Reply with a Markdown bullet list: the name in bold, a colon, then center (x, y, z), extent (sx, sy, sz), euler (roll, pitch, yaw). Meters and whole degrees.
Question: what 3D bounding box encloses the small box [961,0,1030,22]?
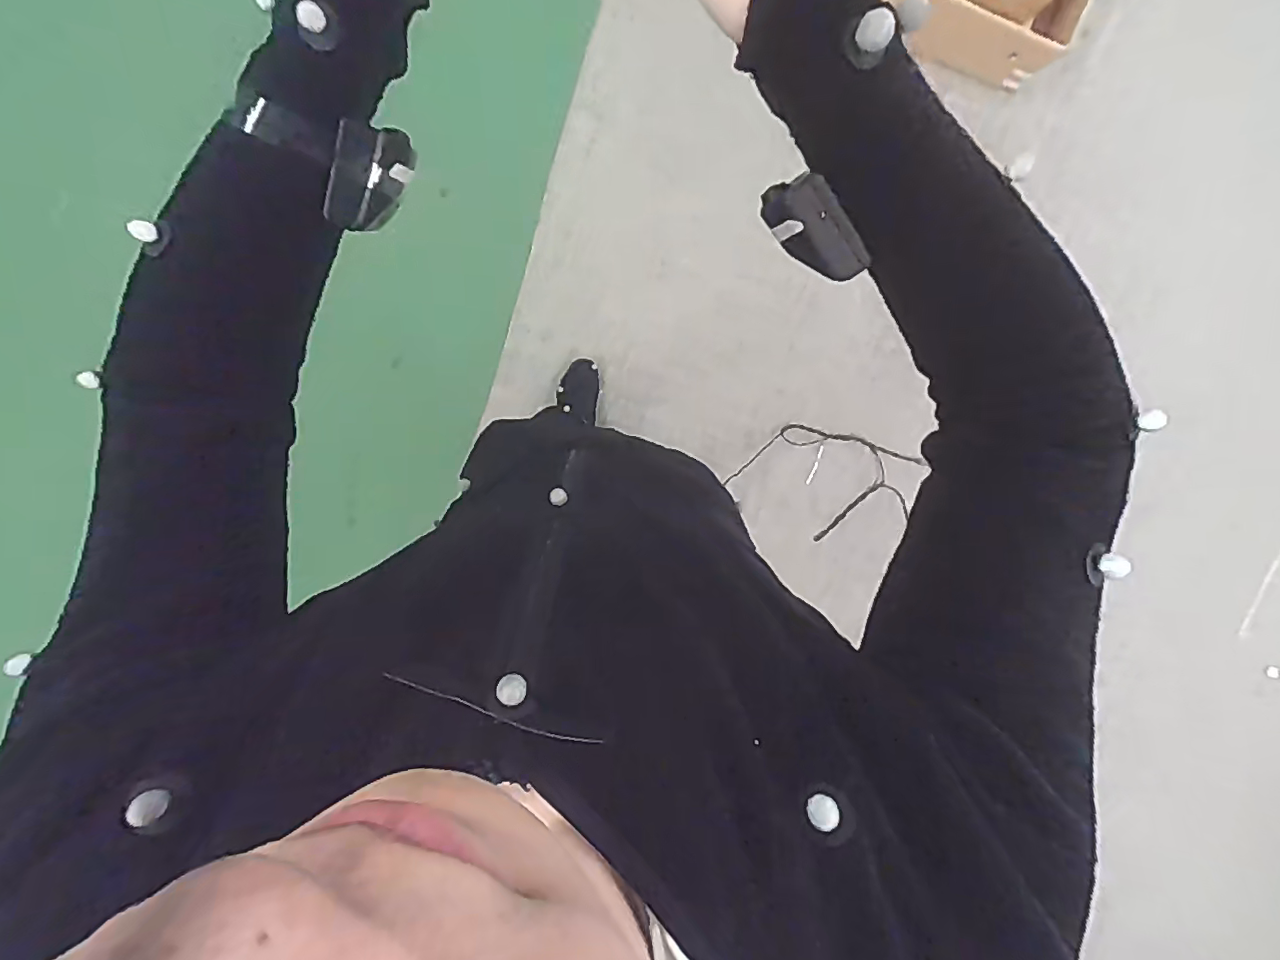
- **small box**: center (0.920, -1.288, 1.325), extent (0.168, 0.176, 0.179), euler (19, 98, -4)
